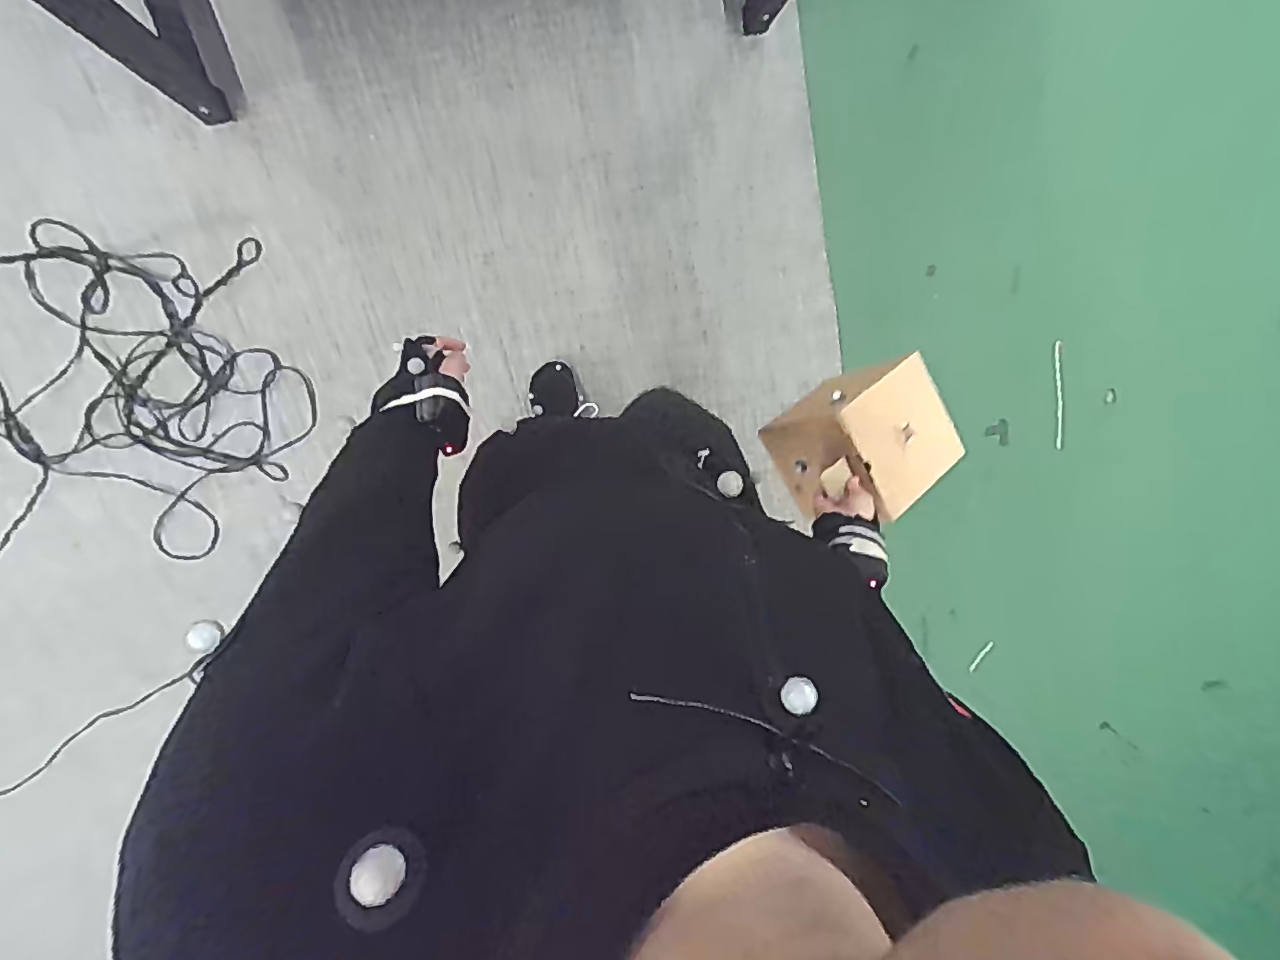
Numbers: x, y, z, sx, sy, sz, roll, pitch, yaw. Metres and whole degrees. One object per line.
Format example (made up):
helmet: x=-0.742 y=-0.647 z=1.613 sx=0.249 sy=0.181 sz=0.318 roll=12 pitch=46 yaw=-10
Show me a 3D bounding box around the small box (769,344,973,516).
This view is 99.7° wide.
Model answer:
small box: x=0.319 y=-0.066 z=0.766 sx=0.179 sy=0.176 sz=0.168 roll=-36 pitch=102 yaw=-21
